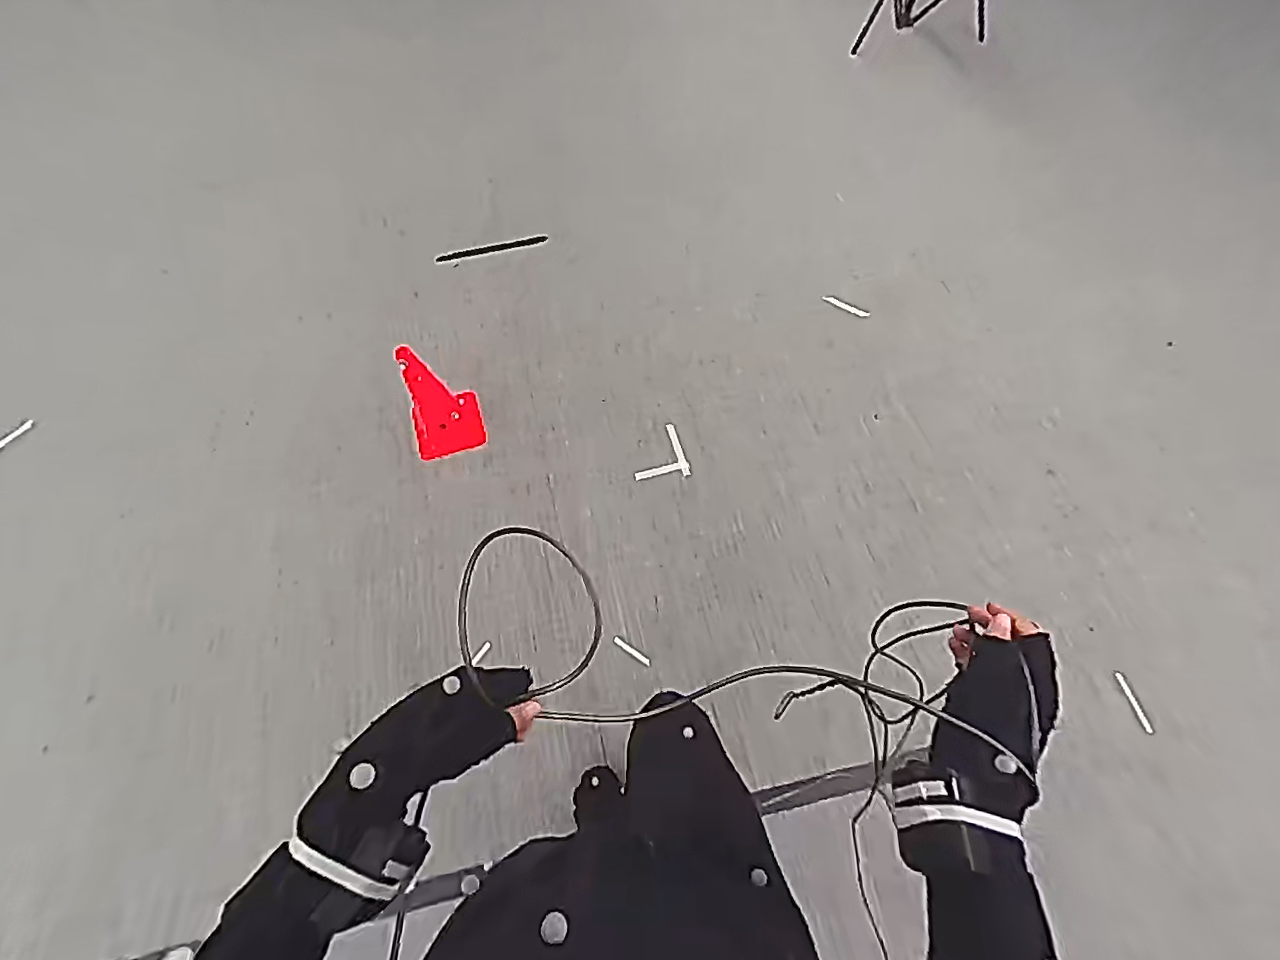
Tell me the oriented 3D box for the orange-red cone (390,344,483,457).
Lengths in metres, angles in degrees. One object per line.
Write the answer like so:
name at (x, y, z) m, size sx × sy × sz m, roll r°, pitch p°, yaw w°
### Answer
orange-red cone at (-0.577, -0.239, 1.451) m, size 0.199 × 0.360 × 0.198 m, roll -17°, pitch 66°, yaw -6°
